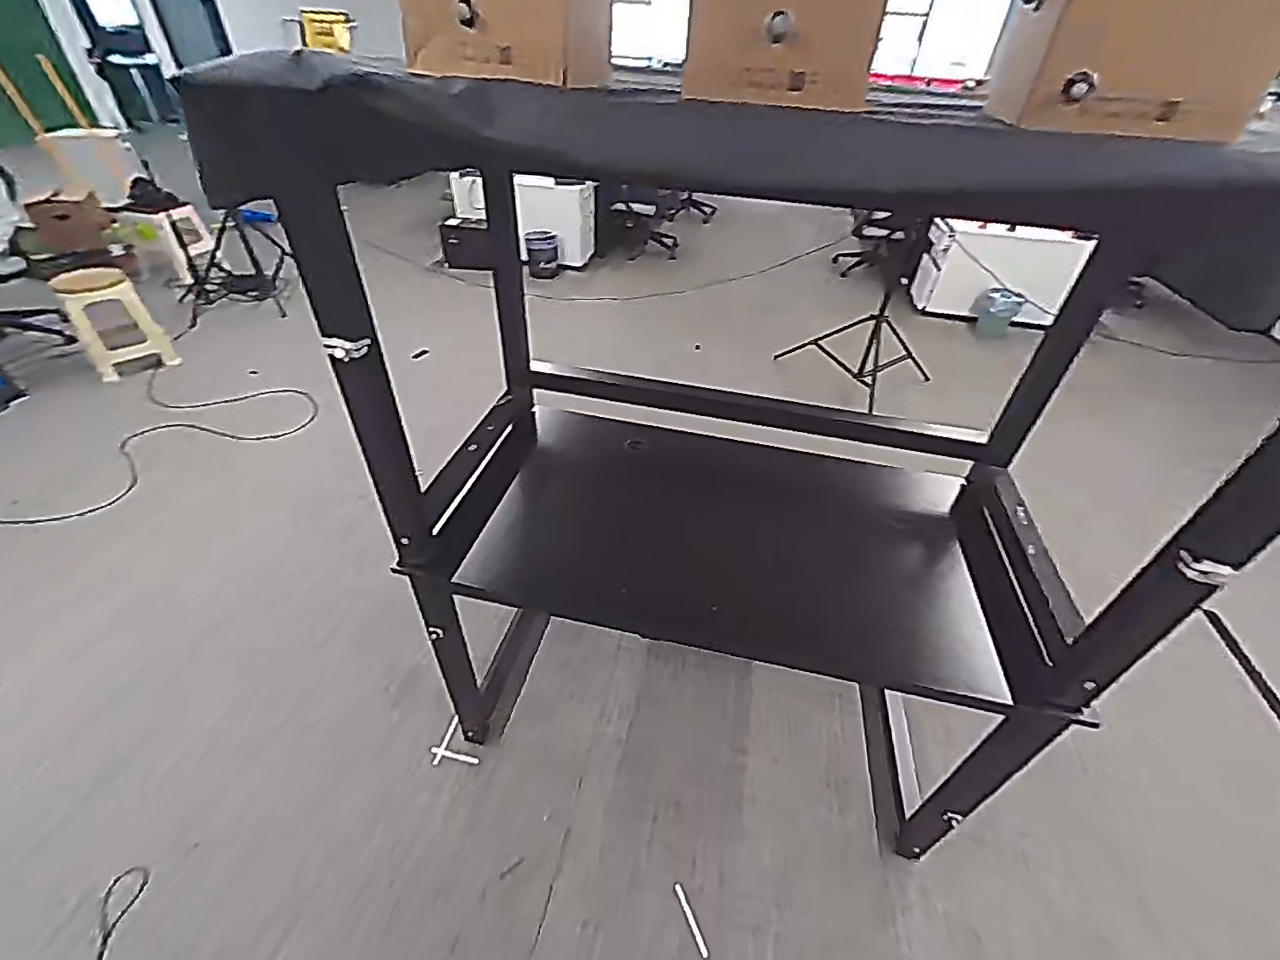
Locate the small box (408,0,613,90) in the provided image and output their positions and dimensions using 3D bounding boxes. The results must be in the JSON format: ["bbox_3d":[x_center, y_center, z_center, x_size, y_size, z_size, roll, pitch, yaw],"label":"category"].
[{"bbox_3d":[-0.125,-0.506,0.543,0.168,0.176,0.179,11,39,7],"label":"small box"}]

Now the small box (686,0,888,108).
[{"bbox_3d":[0.142,-0.460,0.506,0.168,0.176,0.179,11,38,9],"label":"small box"}]

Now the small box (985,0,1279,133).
[{"bbox_3d":[0.434,-0.409,0.468,0.168,0.176,0.179,13,38,11],"label":"small box"}]
